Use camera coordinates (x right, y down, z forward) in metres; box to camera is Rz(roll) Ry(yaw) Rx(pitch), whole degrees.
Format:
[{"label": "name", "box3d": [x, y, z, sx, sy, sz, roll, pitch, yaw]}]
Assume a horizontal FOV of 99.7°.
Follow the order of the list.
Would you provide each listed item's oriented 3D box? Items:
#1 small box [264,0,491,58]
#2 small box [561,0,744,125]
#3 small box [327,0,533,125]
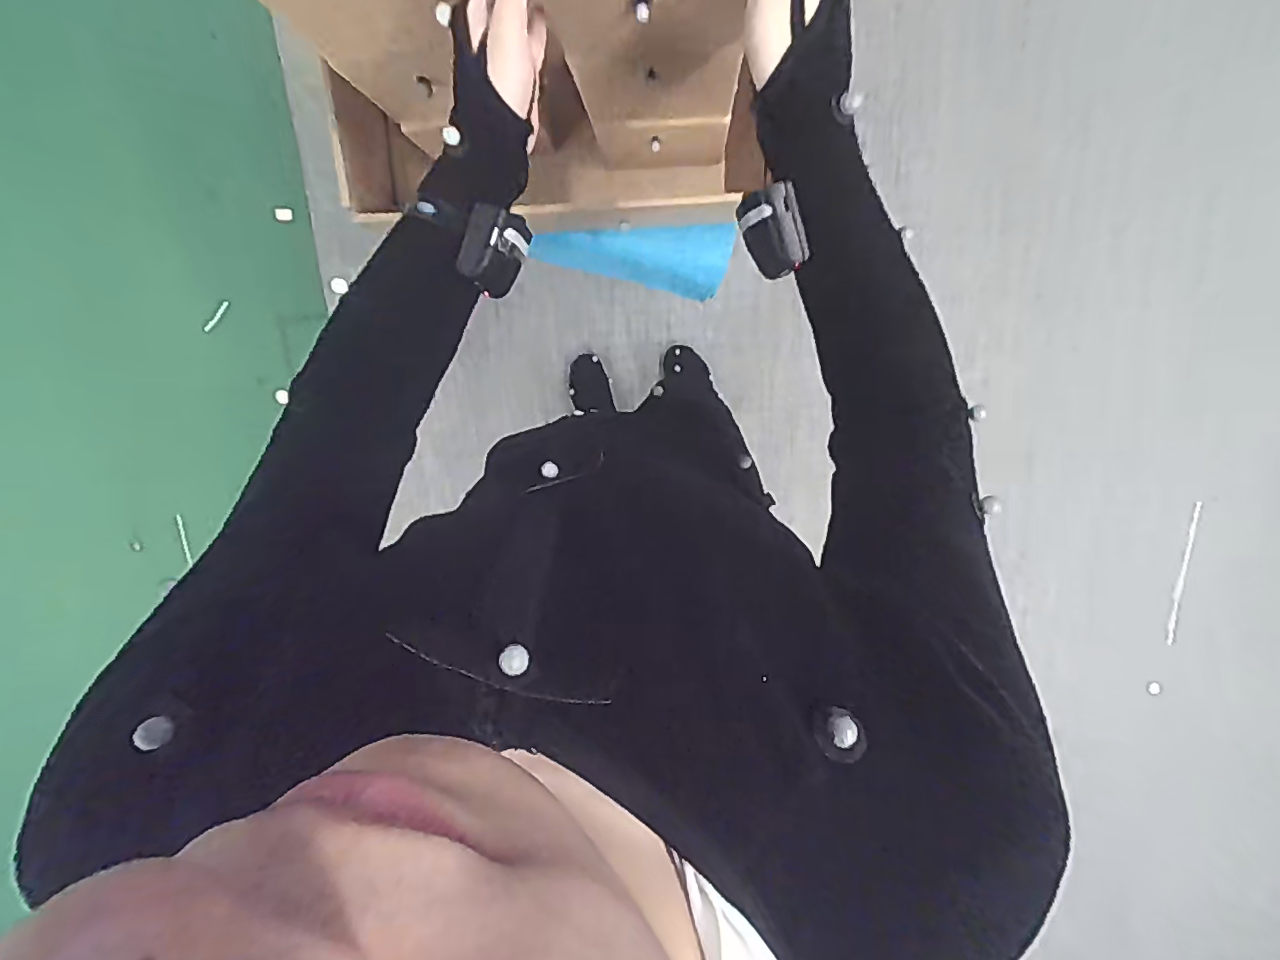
[{"label": "small box", "box3d": [-0.238, -0.478, 0.432, 0.179, 0.176, 0.168, -8, 104, 2]}, {"label": "small box", "box3d": [0.017, -0.504, 0.578, 0.179, 0.176, 0.168, 0, 105, 4]}, {"label": "small box", "box3d": [-0.231, -0.517, 0.591, 0.179, 0.176, 0.168, -7, 104, 3]}]
